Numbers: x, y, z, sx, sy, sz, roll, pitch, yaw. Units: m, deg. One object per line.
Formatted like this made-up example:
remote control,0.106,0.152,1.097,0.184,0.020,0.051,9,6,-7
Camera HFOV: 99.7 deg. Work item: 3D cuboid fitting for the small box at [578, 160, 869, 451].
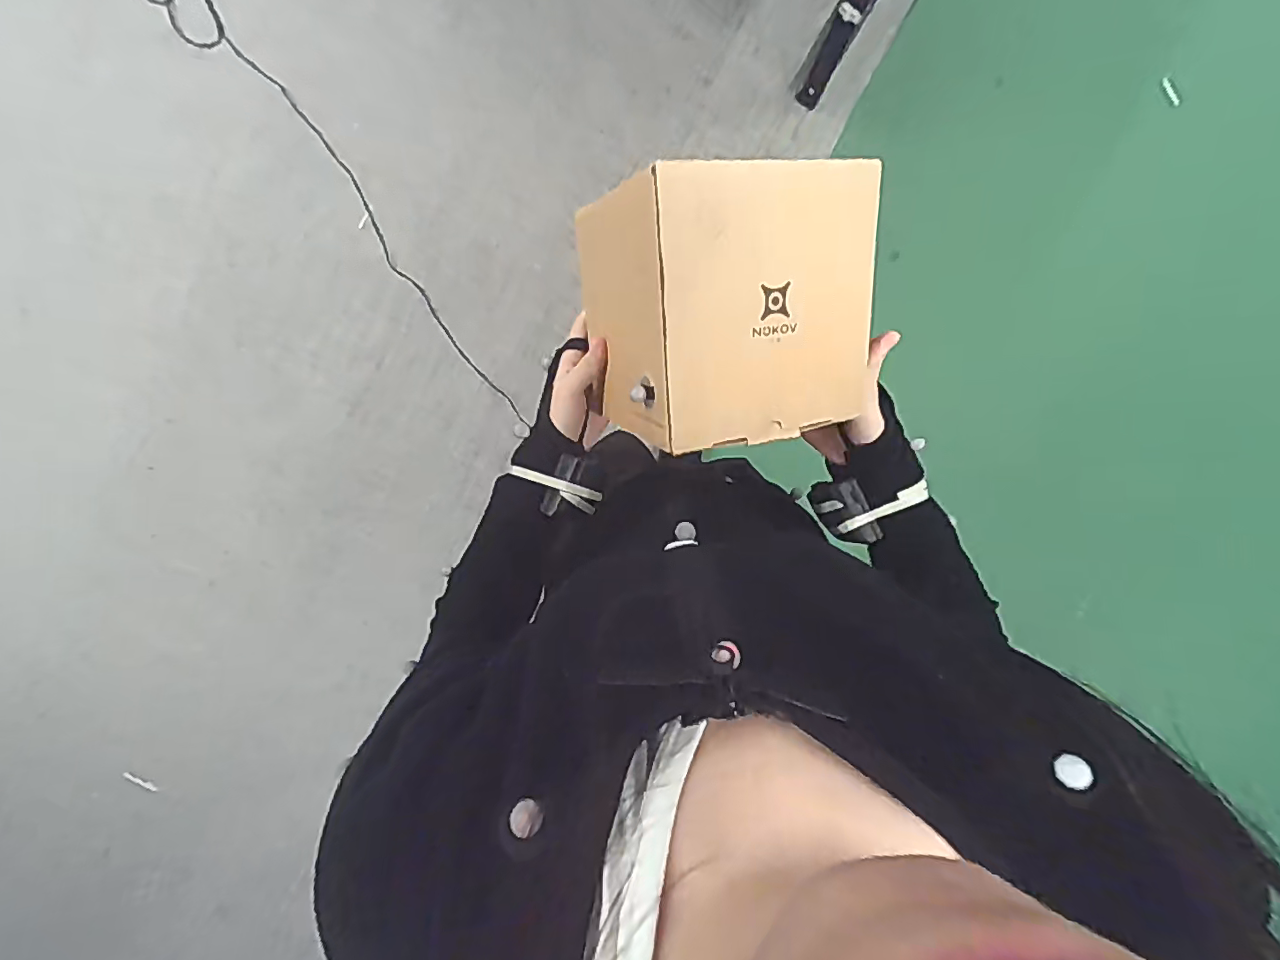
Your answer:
small box,0.056,-0.140,0.436,0.168,0.176,0.179,-13,113,-18
